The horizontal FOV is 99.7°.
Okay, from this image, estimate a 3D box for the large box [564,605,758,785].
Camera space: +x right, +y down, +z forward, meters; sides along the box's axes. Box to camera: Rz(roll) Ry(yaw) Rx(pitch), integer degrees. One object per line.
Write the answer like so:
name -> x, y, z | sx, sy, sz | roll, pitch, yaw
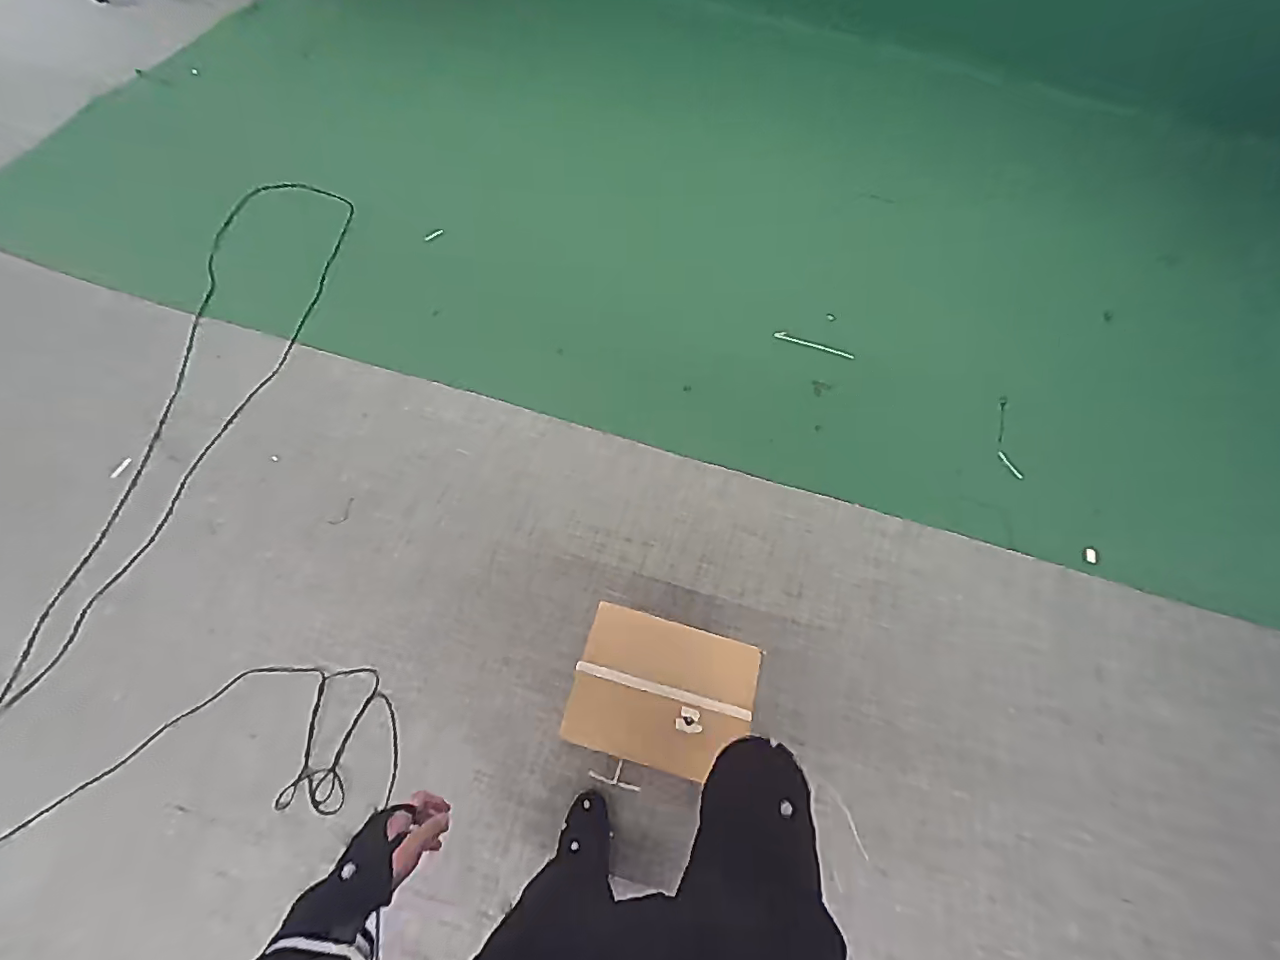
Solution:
large box -> 0.043, 0.547, 1.359 | 0.408, 0.320, 0.320 | 15, 62, 2
